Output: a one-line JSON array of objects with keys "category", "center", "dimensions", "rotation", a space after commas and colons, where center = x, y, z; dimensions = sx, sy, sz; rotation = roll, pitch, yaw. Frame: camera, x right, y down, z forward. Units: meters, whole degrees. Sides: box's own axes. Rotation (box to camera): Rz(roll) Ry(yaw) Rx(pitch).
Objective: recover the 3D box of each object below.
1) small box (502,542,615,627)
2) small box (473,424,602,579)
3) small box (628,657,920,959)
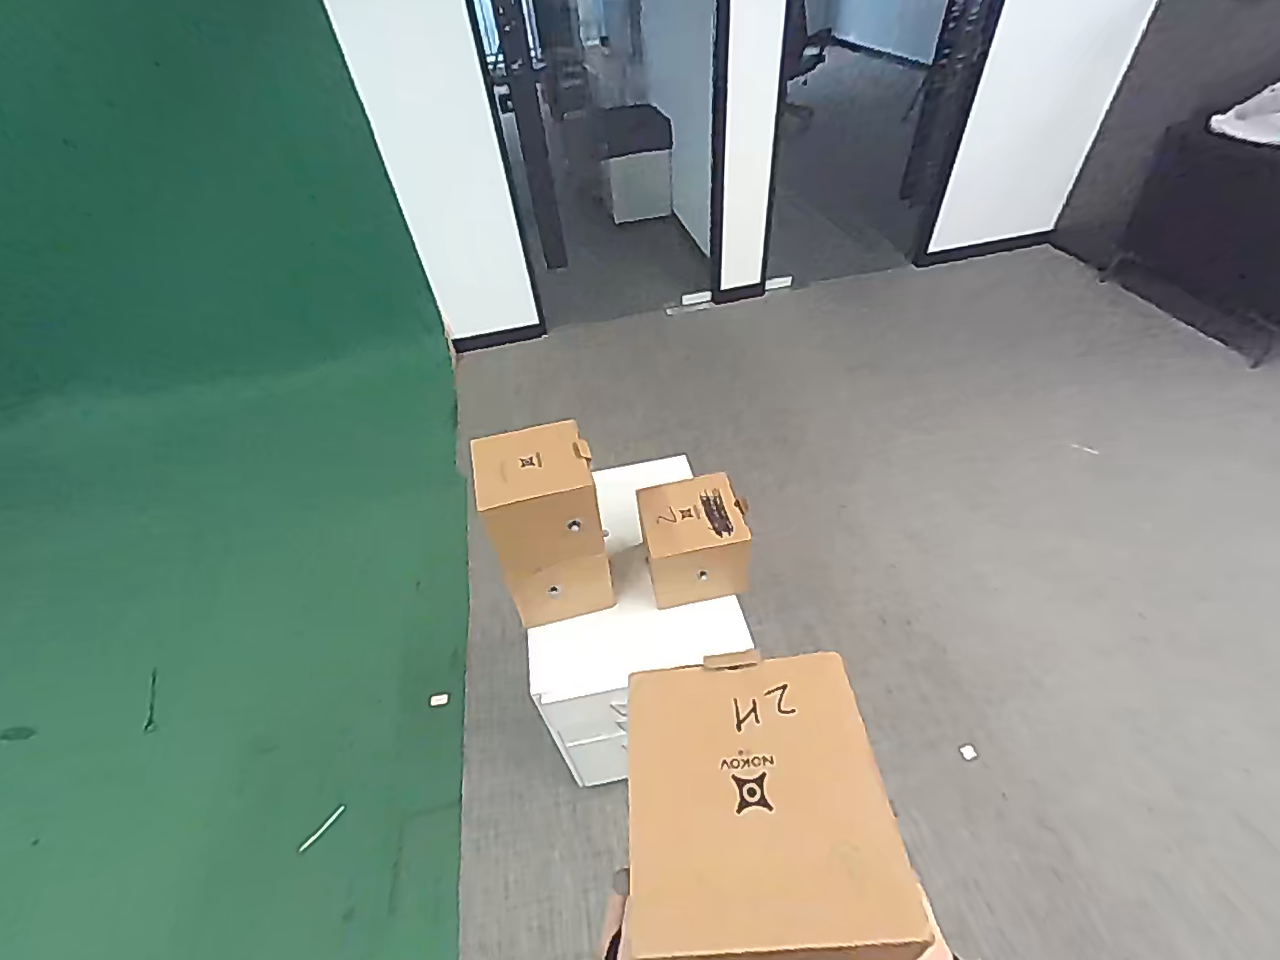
[{"category": "small box", "center": [-0.154, 0.151, 1.007], "dimensions": [0.179, 0.176, 0.168], "rotation": [-13, 47, -8]}, {"category": "small box", "center": [-0.163, 0.036, 0.891], "dimensions": [0.179, 0.176, 0.168], "rotation": [-14, 45, -9]}, {"category": "small box", "center": [0.085, 0.262, 0.413], "dimensions": [0.168, 0.176, 0.179], "rotation": [-6, 40, 4]}]
